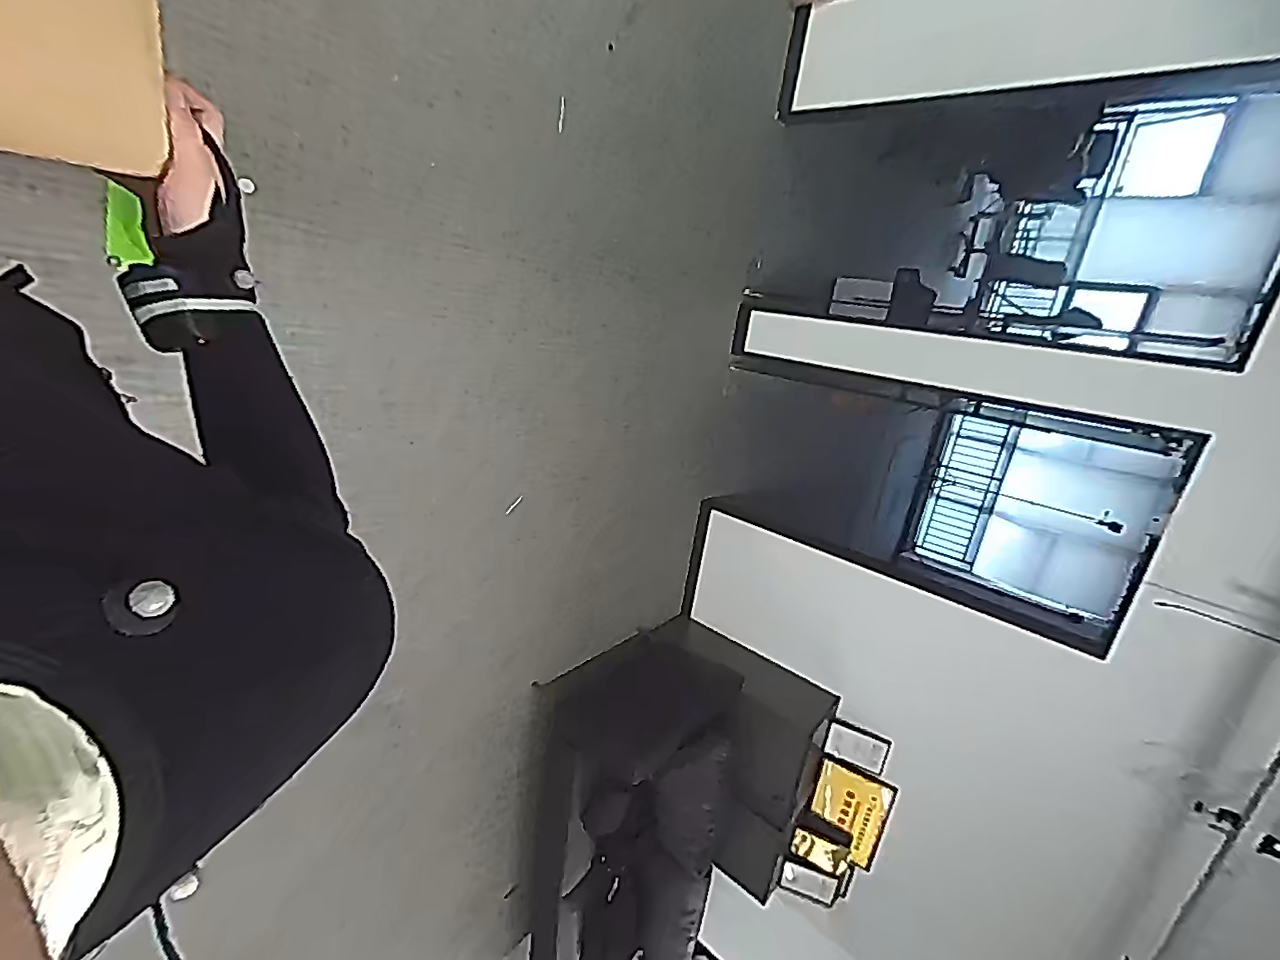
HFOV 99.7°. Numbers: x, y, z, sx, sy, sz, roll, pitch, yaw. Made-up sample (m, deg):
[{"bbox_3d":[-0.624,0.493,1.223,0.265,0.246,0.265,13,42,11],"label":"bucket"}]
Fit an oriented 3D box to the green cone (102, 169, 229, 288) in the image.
[{"bbox_3d":[-0.900,-0.492,1.079,0.200,0.368,0.202,-3,109,-53],"label":"green cone"}]
